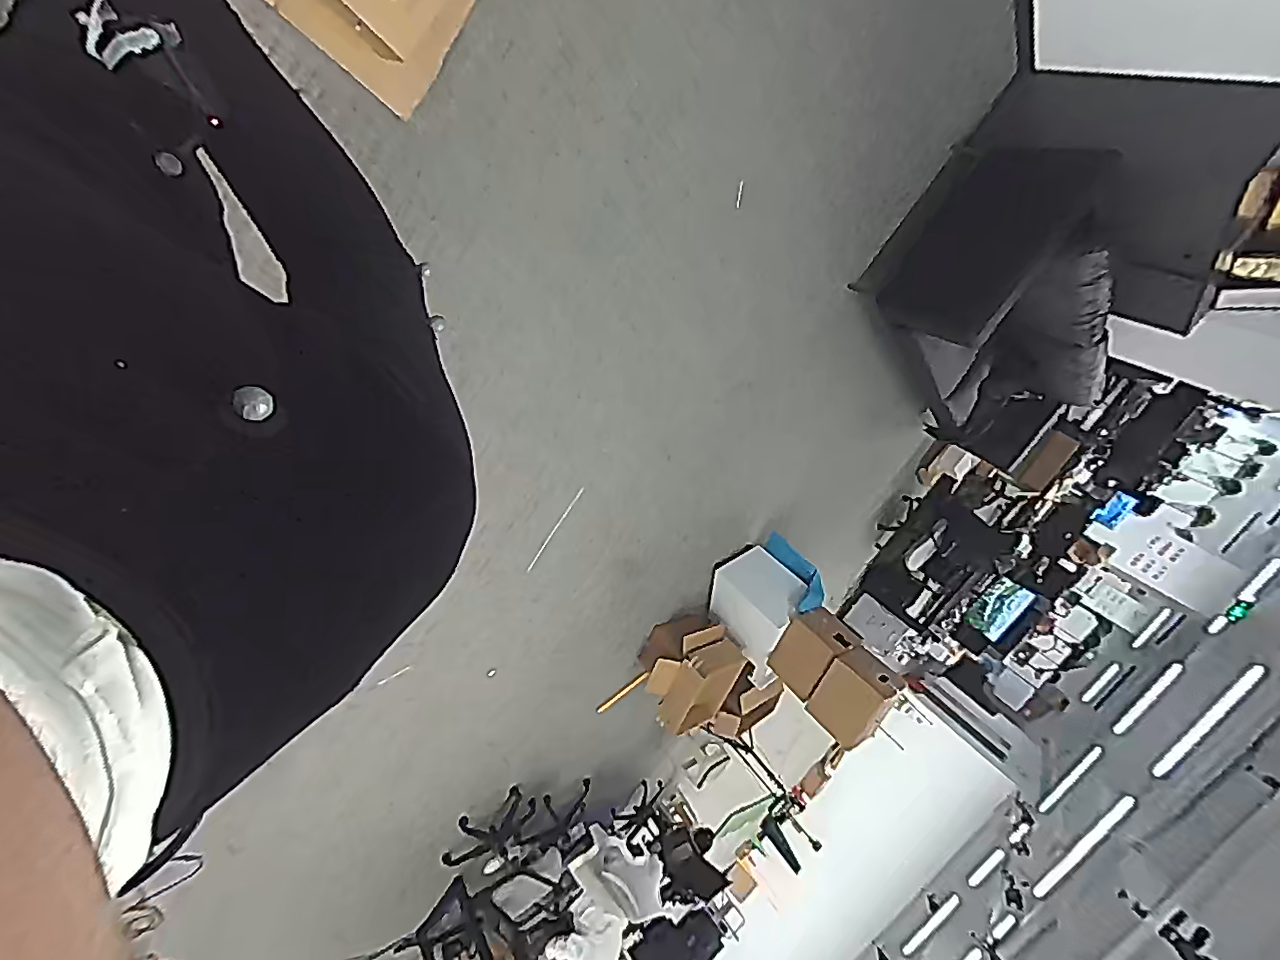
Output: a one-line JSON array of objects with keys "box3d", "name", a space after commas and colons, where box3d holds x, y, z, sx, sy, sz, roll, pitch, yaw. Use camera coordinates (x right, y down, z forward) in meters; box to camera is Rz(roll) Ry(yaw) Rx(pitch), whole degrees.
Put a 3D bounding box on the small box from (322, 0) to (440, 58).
[{"box3d": [-0.536, -0.997, 1.088, 0.168, 0.176, 0.179, -53, 142, 8], "name": "small box"}]
